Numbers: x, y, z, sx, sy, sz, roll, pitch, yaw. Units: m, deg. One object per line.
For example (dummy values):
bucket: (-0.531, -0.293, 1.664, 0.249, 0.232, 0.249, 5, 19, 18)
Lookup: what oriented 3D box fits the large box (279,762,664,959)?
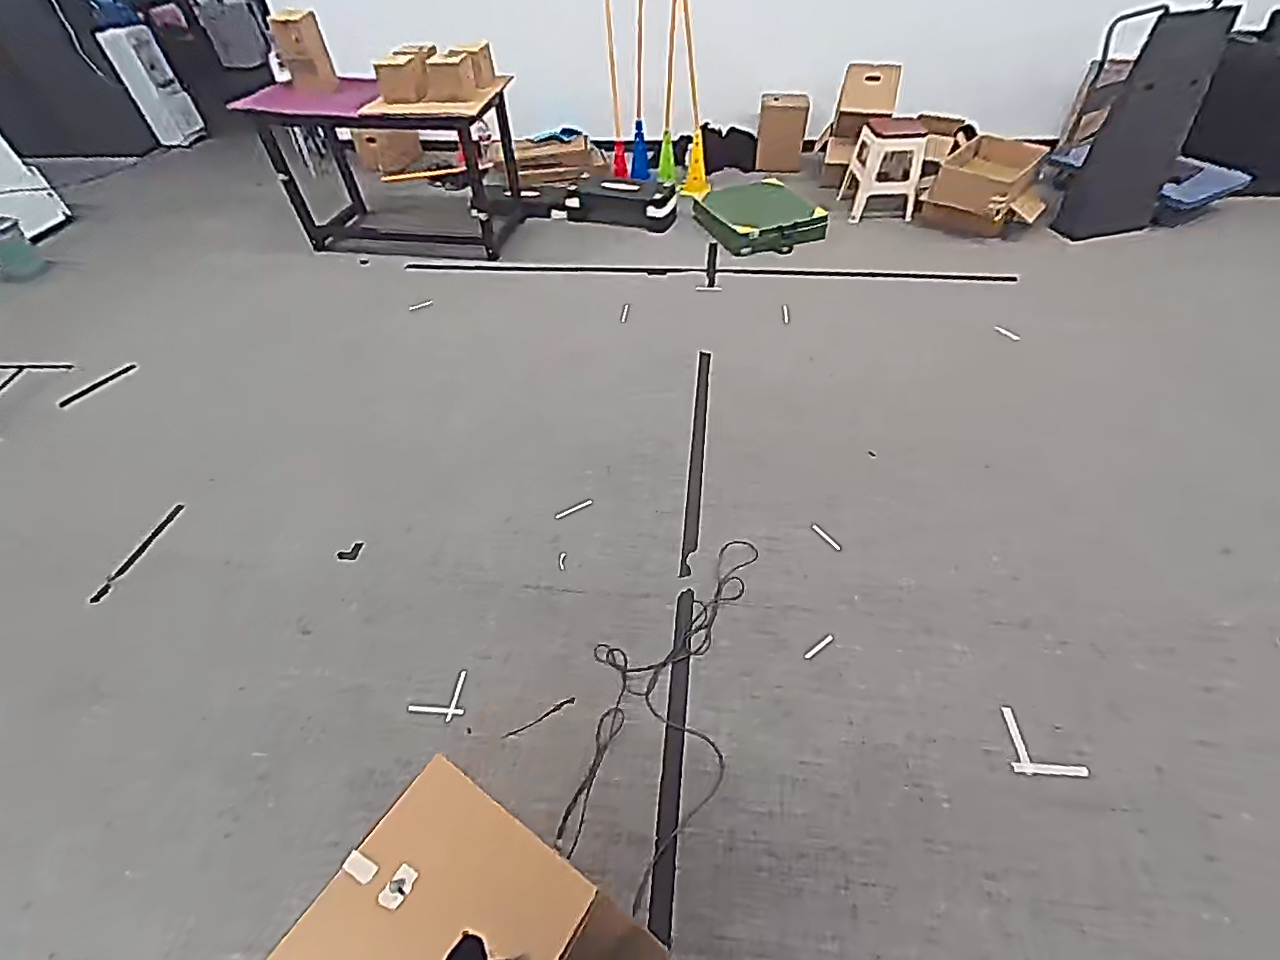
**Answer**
large box: (-0.210, 0.676, 0.753, 0.320, 0.408, 0.320, 18, 52, 34)
